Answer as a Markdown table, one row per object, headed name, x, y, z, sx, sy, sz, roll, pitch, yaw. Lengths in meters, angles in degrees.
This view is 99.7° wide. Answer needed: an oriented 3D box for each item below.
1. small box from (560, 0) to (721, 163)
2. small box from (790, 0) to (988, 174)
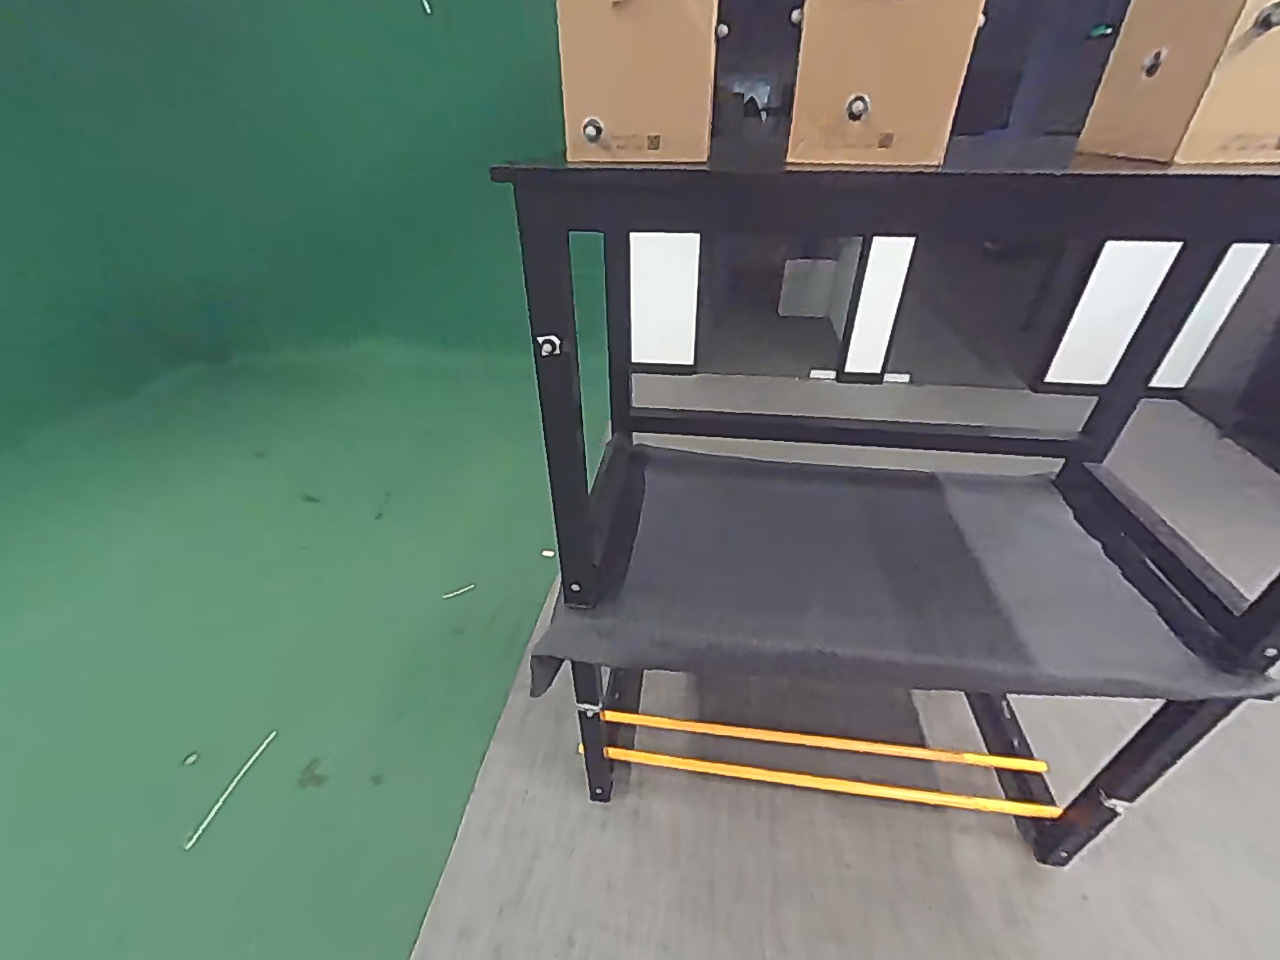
| name | x | y | z | sx | sy | sz | roll | pitch | yaw |
| --- | --- | --- | --- | --- | --- | --- | --- | --- | --- |
| small box | 0.010 | -0.485 | 0.654 | 0.168 | 0.176 | 0.179 | 4 | 34 | 6 |
| small box | 0.272 | -0.463 | 0.626 | 0.168 | 0.176 | 0.179 | 9 | 36 | 13 |
